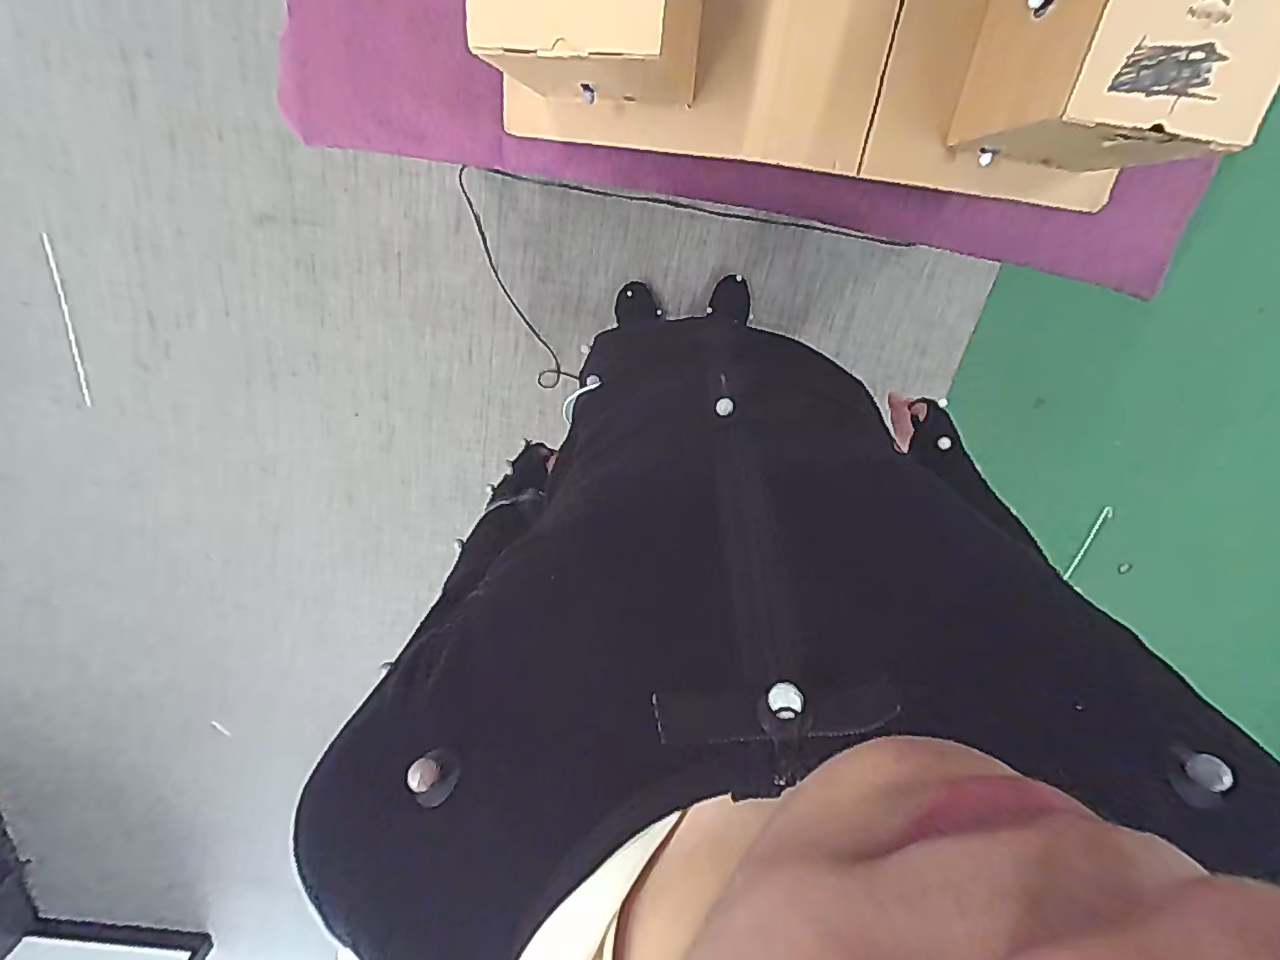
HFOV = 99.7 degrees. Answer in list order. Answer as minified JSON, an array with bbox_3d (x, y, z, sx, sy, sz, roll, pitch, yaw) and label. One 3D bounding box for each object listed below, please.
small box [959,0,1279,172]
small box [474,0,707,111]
[{"bbox_3d":[0.419,-0.384,0.472,0.168,0.176,0.179,6,113,-6],"label":"small box"},{"bbox_3d":[-0.032,-0.447,0.471,0.168,0.176,0.179,10,116,10],"label":"small box"}]
